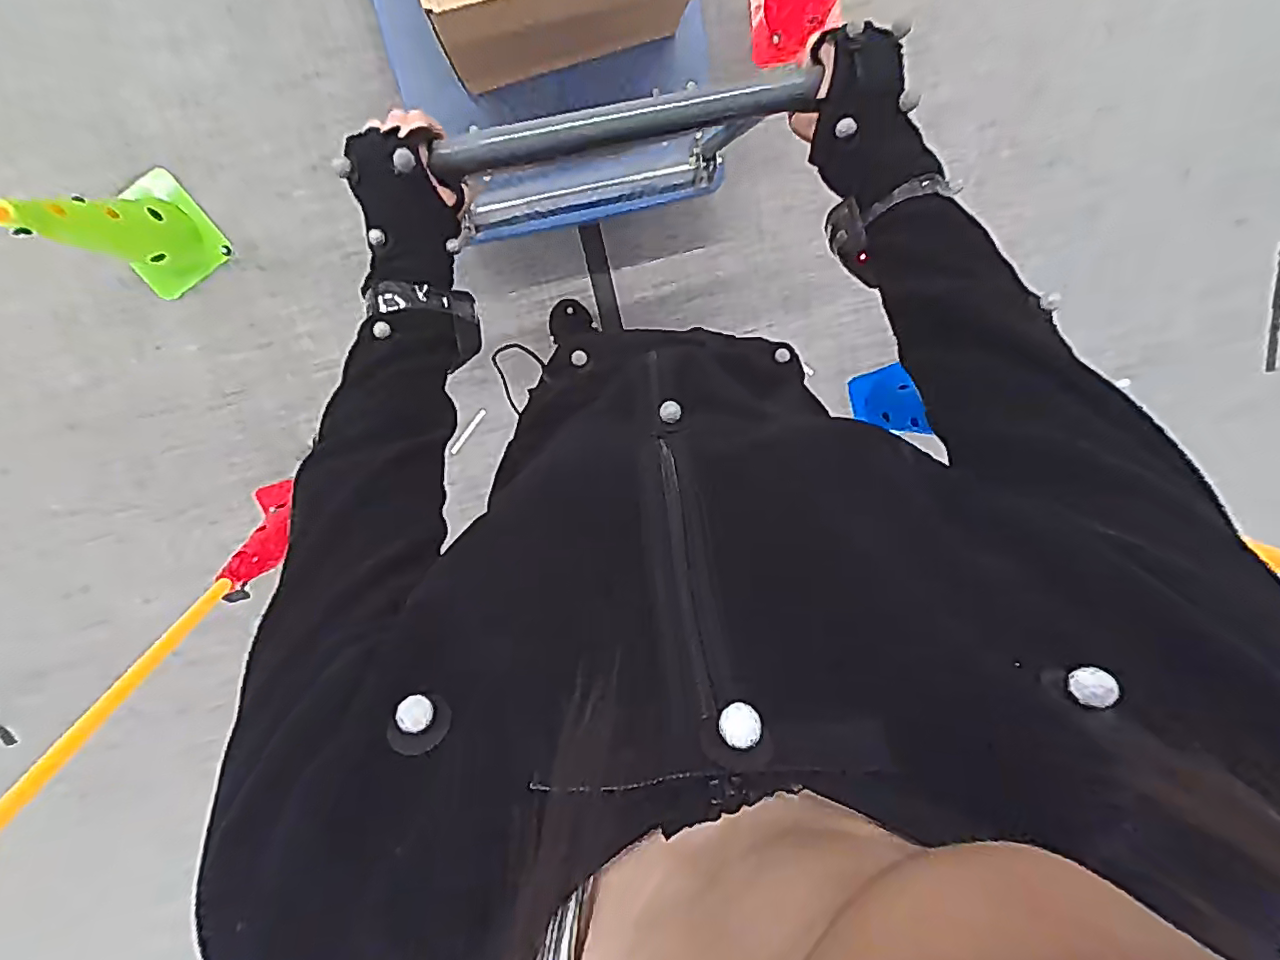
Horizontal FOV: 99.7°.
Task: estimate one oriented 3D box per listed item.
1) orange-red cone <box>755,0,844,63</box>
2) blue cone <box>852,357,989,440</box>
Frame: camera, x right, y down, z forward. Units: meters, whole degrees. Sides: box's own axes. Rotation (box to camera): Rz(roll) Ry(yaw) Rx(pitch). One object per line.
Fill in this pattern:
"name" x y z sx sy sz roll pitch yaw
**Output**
"orange-red cone" 0.361 -0.953 0.986 0.199 0.360 0.198 -10 110 -5
"blue cone" 0.693 -0.166 1.304 0.193 0.380 0.192 -19 108 -1
